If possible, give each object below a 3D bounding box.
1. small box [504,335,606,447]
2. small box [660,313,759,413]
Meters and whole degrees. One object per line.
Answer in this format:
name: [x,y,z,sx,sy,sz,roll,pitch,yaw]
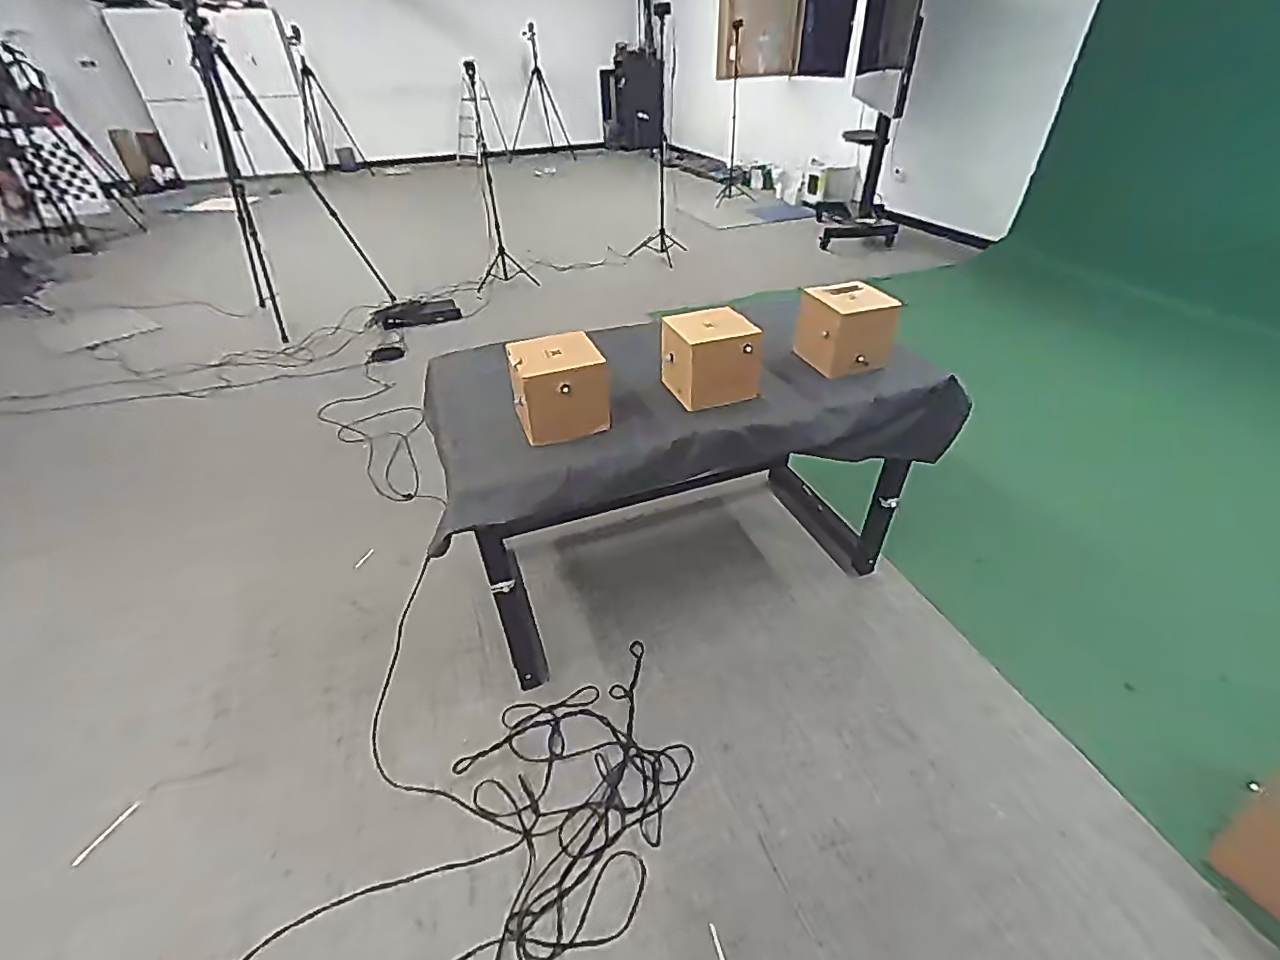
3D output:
small box: [-0.180,-0.190,1.158,0.179,0.176,0.168,-13,41,-17]
small box: [0.155,-0.270,1.255,0.179,0.176,0.168,-13,39,-16]
